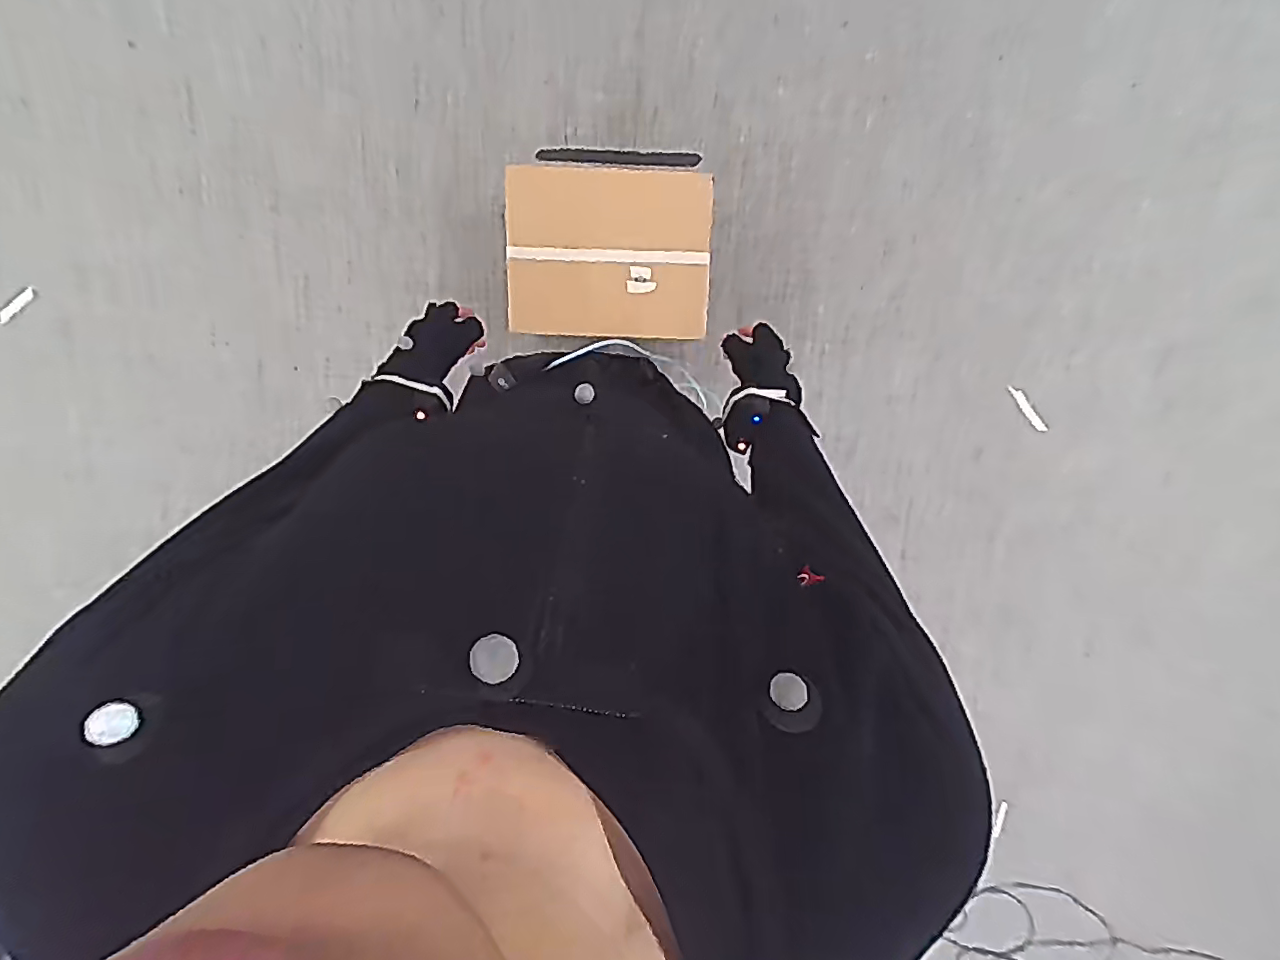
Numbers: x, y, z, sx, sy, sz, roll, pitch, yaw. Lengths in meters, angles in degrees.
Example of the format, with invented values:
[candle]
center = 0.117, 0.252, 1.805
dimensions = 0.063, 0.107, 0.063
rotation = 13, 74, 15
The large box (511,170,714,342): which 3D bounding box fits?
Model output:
[large box]
center = -0.061, -0.481, 1.230
dimensions = 0.408, 0.320, 0.320
rotation = 2, 104, -2
